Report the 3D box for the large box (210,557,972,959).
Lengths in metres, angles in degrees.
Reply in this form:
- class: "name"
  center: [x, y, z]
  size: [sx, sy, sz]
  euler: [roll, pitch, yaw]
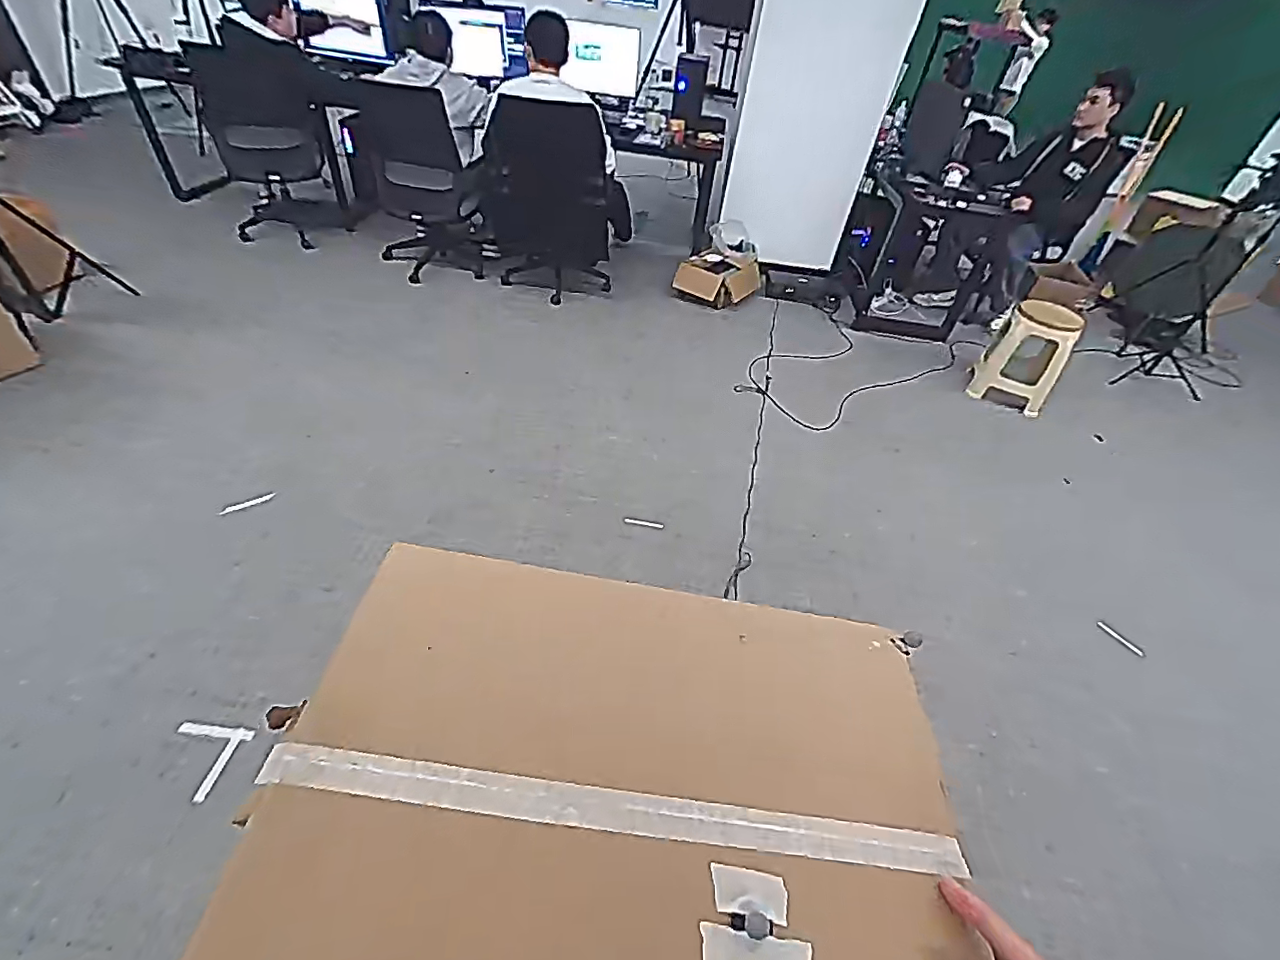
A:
- class: "large box"
  center: [-0.030, 0.302, 0.433]
  size: [0.408, 0.320, 0.320]
  euler: [11, 46, -4]
